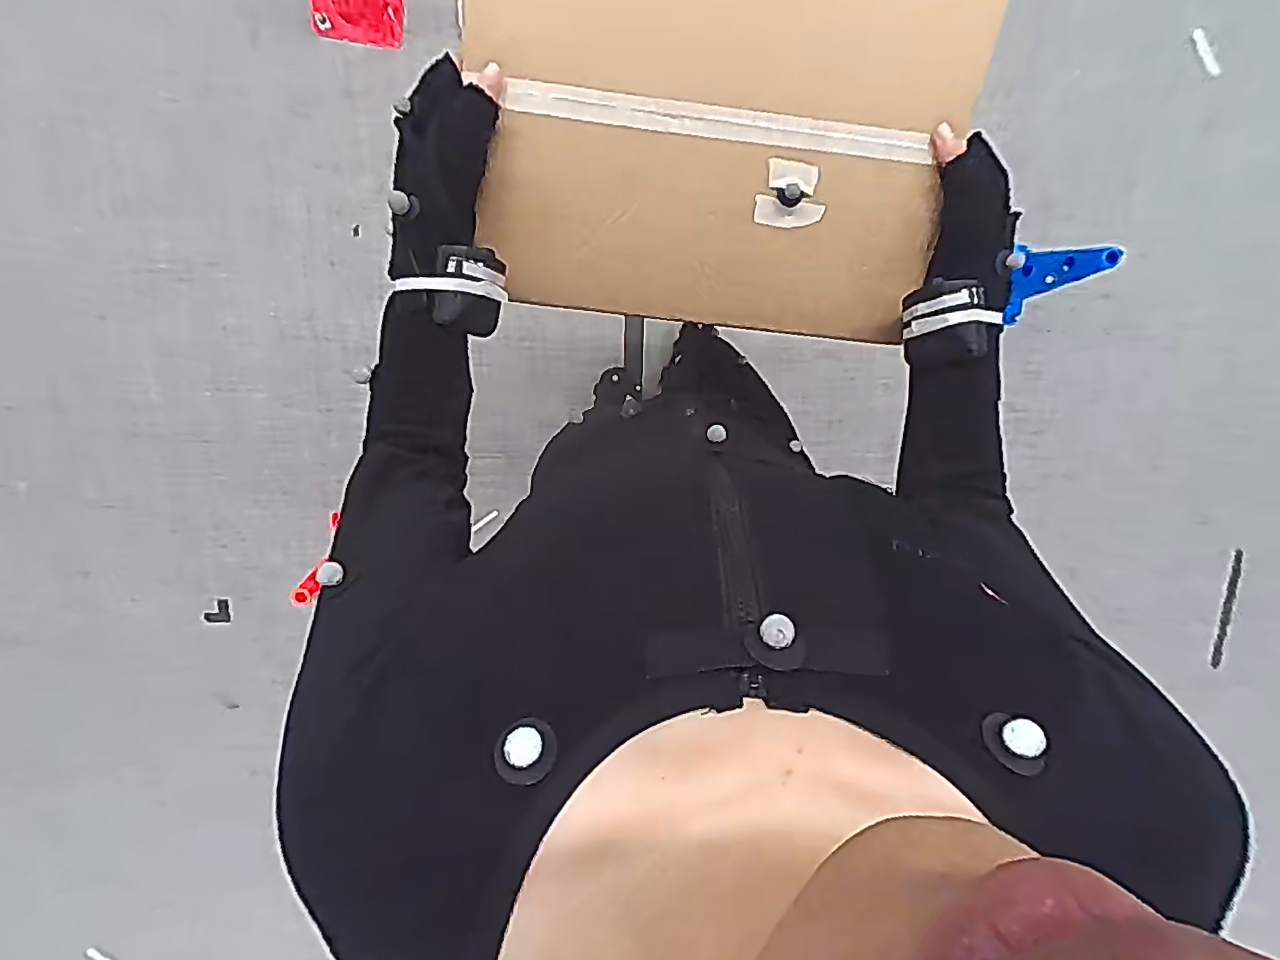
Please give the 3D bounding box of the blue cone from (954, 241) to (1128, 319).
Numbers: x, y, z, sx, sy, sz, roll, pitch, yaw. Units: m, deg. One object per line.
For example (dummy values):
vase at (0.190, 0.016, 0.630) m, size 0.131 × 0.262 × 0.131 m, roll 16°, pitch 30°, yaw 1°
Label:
blue cone at (0.934, -0.491, 1.259) m, size 0.192 × 0.380 × 0.193 m, roll 3°, pitch 102°, yaw -5°

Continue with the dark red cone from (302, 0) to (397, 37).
dark red cone at (-0.619, -1.057, 1.016) m, size 0.201 × 0.394 × 0.202 m, roll 6°, pitch 102°, yaw -5°

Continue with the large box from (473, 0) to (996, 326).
large box at (0.060, -0.358, 0.574) m, size 0.408 × 0.320 × 0.320 m, roll 5°, pitch 115°, yaw -4°
